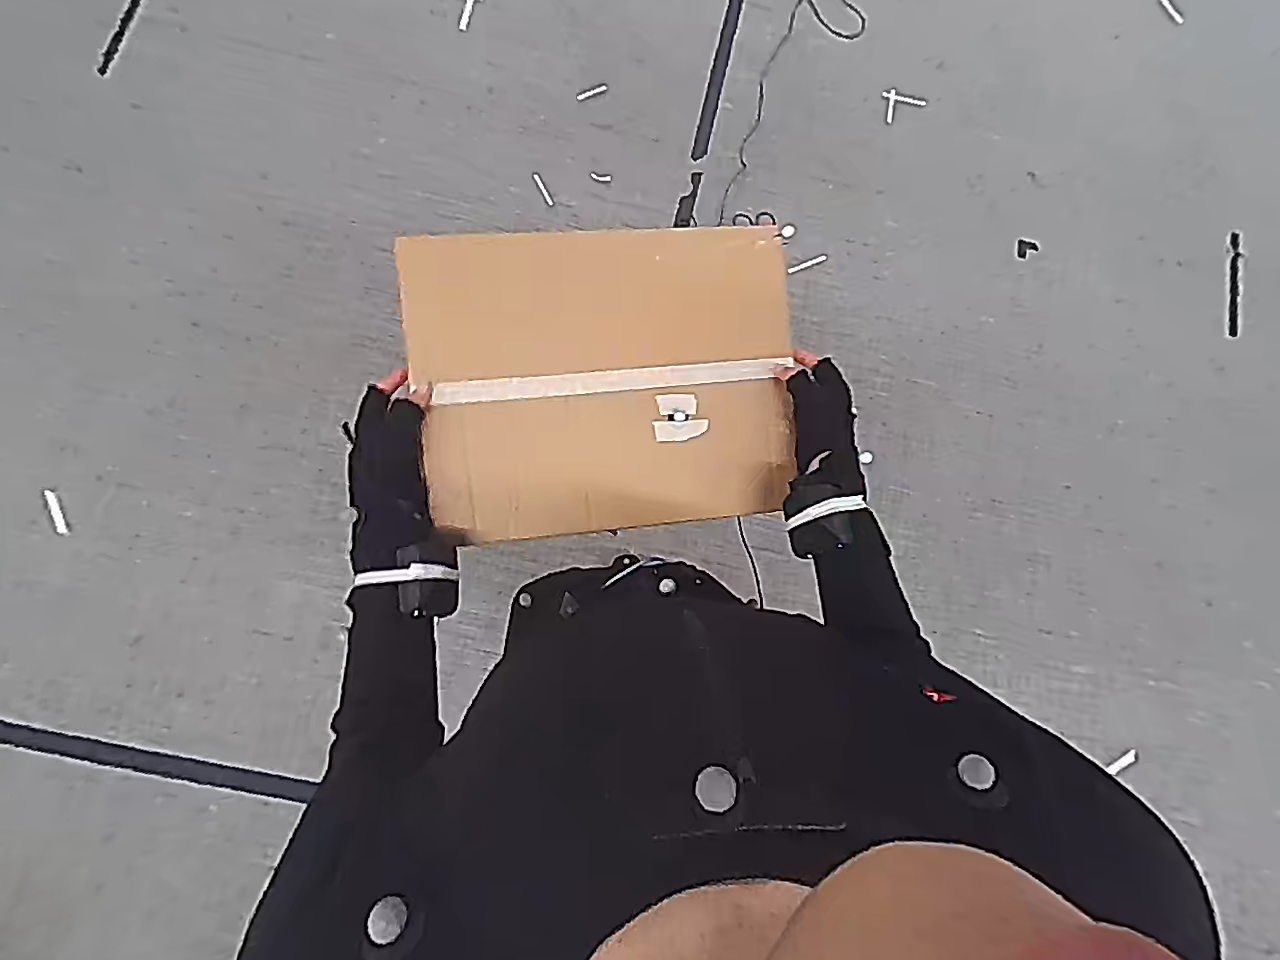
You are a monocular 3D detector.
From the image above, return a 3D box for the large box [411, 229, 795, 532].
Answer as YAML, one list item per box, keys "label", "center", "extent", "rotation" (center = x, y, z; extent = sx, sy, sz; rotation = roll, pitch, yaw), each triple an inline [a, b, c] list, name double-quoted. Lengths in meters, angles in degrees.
- label: "large box"
  center: [-0.052, -0.119, 0.732]
  extent: [0.408, 0.320, 0.320]
  rotation: [-4, 93, -9]
